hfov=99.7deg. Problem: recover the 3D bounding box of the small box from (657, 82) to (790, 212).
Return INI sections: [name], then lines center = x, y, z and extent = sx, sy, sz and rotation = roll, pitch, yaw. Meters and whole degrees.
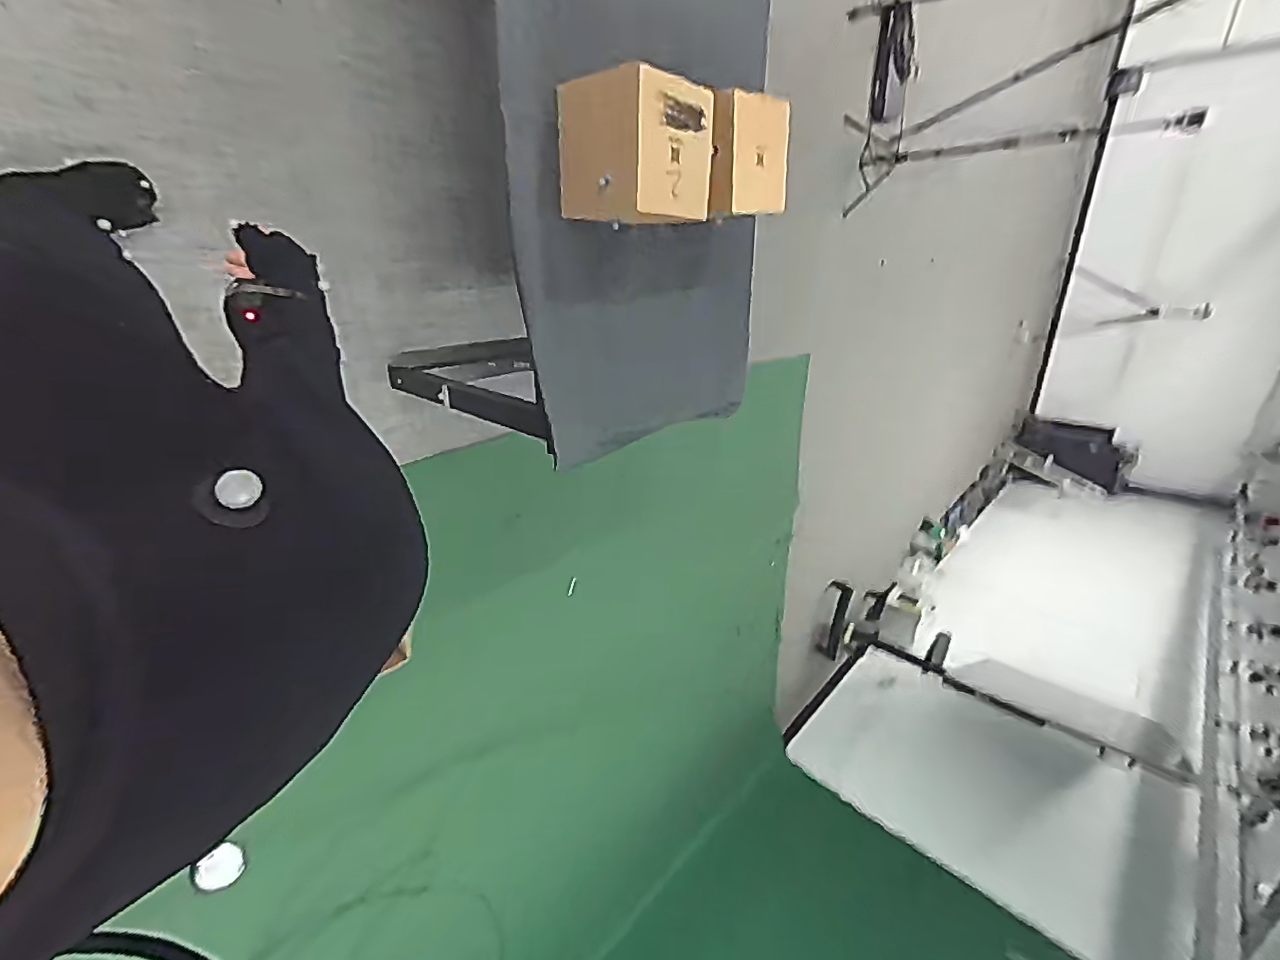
[small box]
center = 0.145, -0.577, 0.964
extent = 0.168, 0.176, 0.179
rotation = -25, 122, -39
